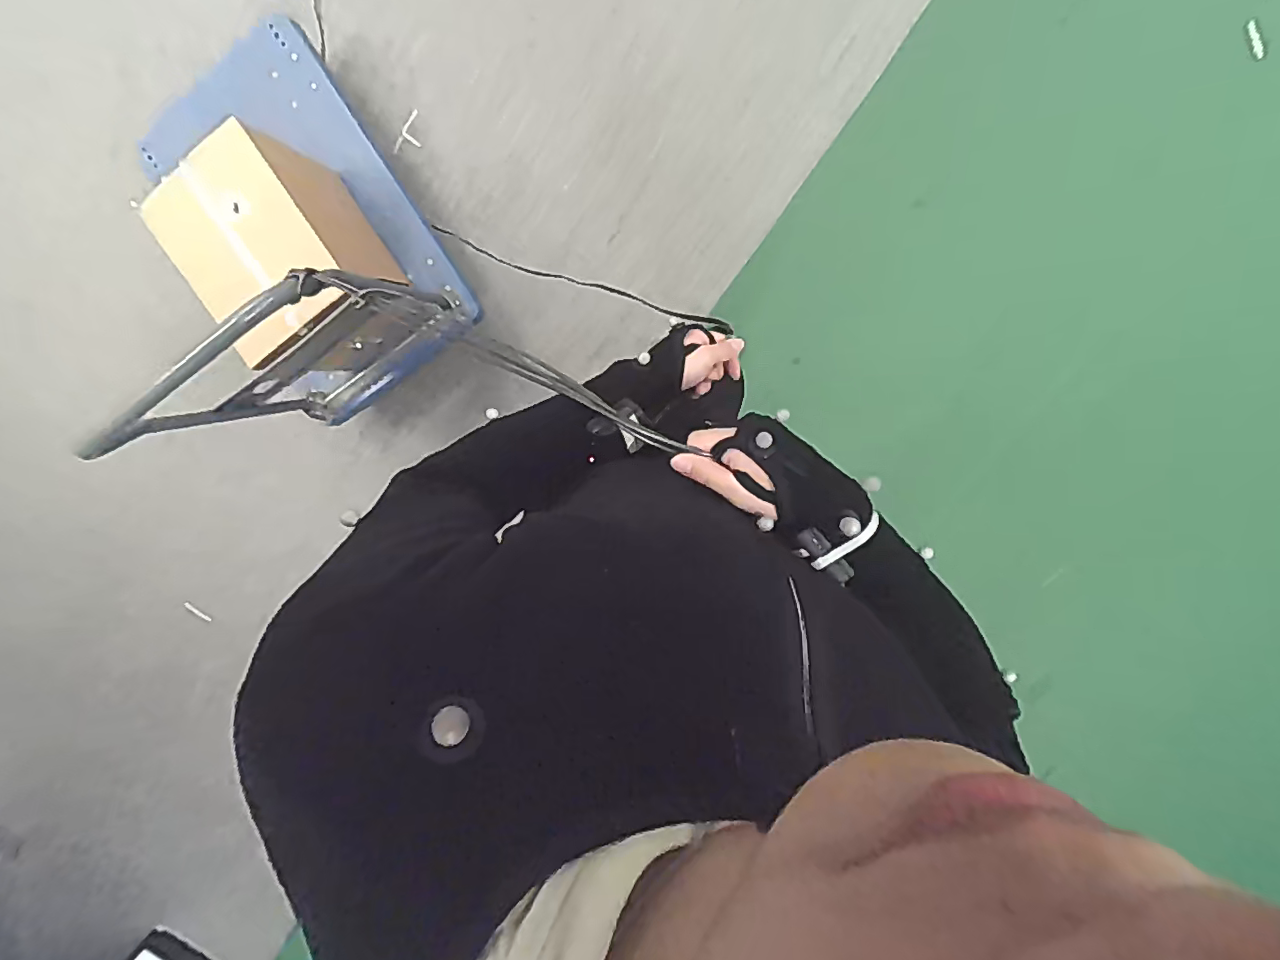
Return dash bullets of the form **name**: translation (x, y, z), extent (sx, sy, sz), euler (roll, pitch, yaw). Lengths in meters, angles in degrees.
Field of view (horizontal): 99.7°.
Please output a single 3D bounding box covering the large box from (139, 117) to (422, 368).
- **large box**: translation (-0.811, -0.517, 1.278), extent (0.320, 0.320, 0.408), euler (-32, 95, 11)
